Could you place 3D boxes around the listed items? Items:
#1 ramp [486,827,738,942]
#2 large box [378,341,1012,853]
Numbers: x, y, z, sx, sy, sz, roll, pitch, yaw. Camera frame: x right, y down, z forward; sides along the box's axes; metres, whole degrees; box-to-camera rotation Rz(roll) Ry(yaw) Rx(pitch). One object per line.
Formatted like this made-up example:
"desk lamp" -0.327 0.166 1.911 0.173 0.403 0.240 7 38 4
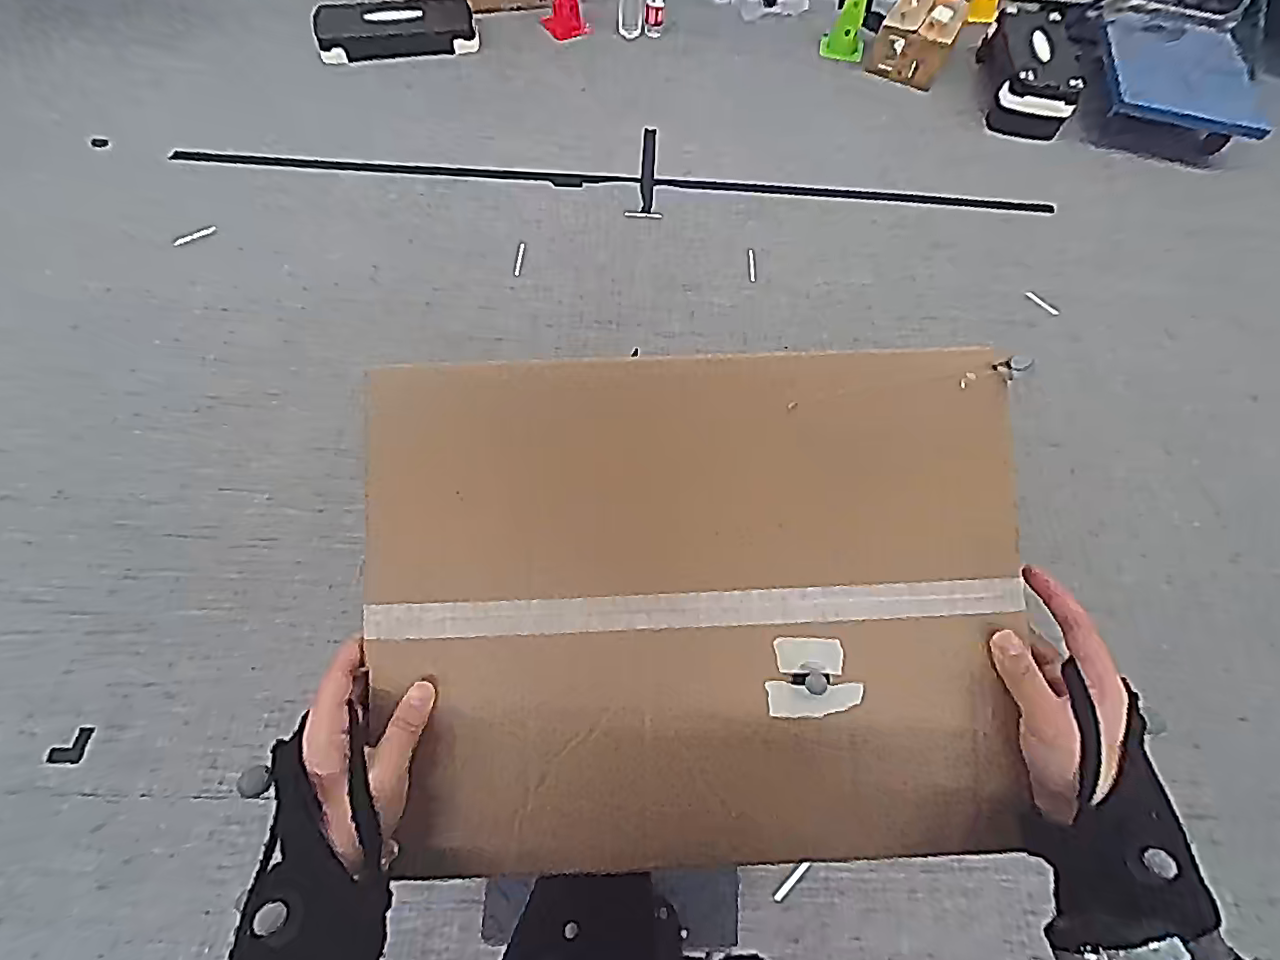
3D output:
"ramp" -0.031 0.403 1.178 0.509 0.206 0.991 2 63 -3
"large box" 0.030 0.078 0.497 0.408 0.320 0.320 -2 88 -1
